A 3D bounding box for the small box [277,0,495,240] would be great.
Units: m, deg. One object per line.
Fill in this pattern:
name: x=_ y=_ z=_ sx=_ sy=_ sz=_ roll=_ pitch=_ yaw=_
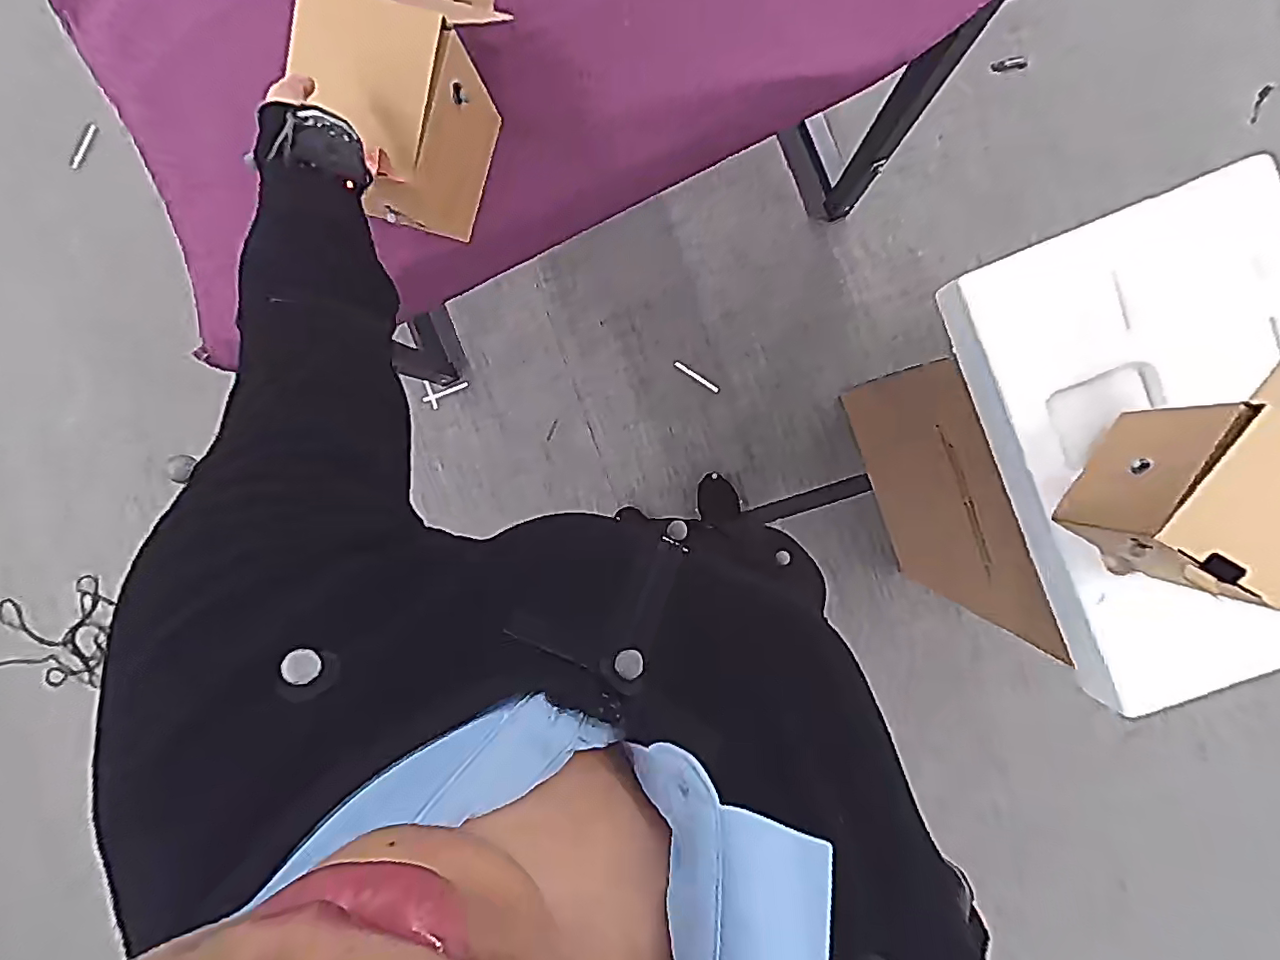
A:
small box: x=-0.299 y=-0.436 z=0.675 sx=0.168 sy=0.176 sz=0.179 roll=17 pitch=93 yaw=4
